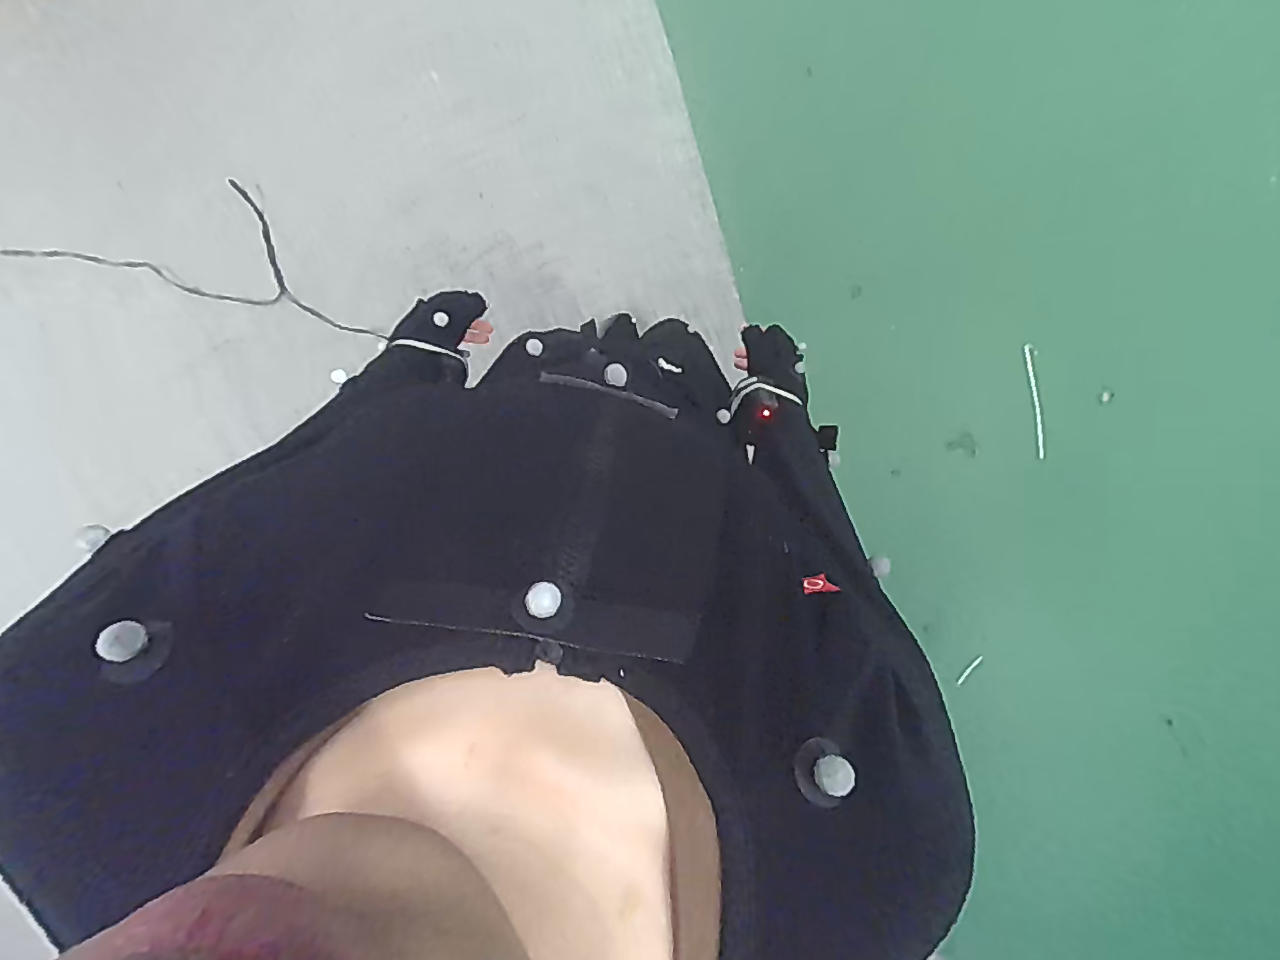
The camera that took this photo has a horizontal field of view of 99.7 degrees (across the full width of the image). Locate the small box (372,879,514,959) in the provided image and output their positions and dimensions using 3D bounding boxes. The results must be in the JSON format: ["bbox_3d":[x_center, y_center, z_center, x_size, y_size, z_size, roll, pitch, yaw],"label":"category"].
[{"bbox_3d":[-0.334,0.826,0.907,0.168,0.176,0.179,-26,104,7],"label":"small box"}]
